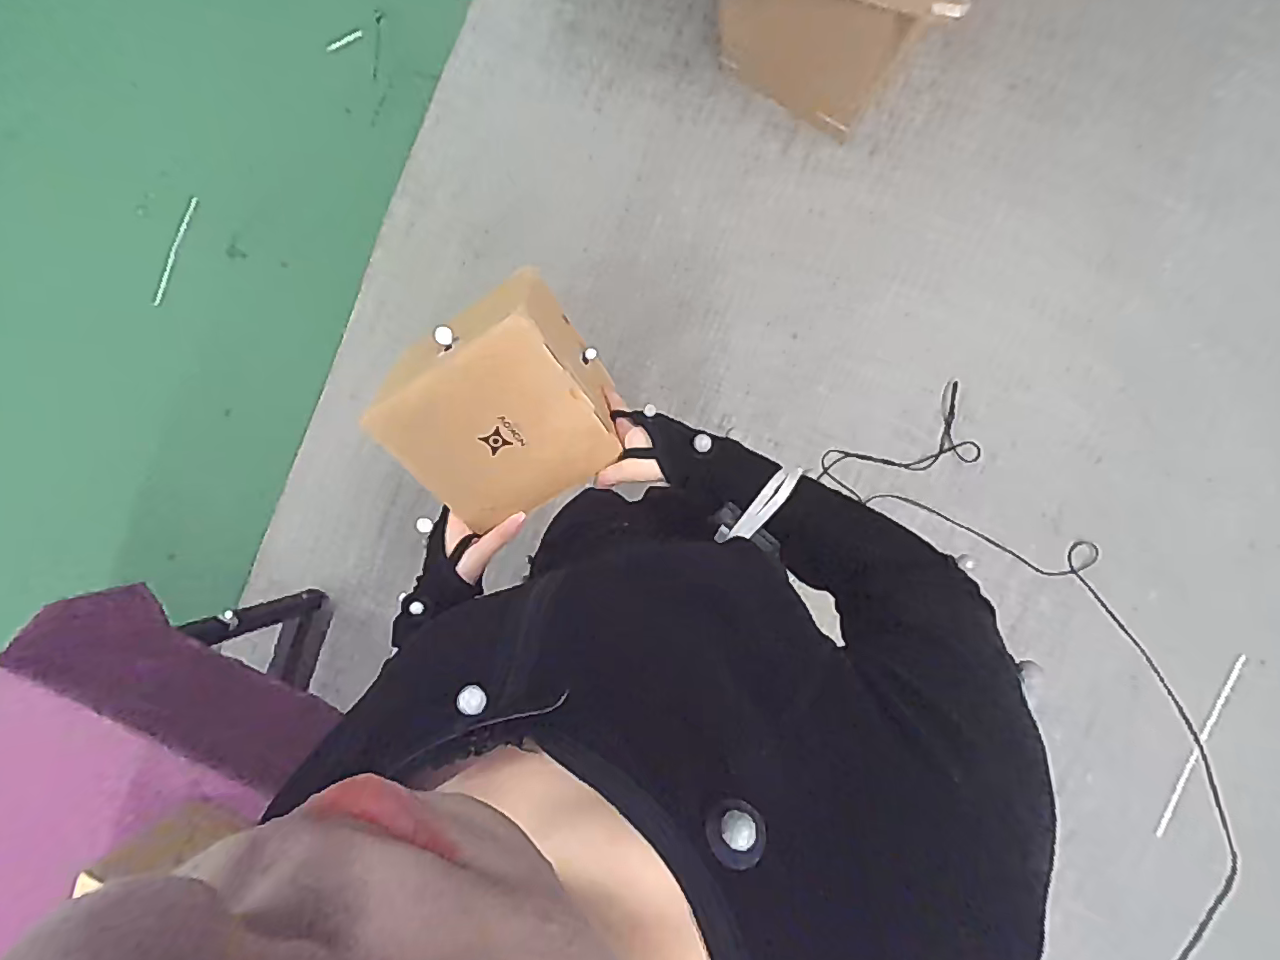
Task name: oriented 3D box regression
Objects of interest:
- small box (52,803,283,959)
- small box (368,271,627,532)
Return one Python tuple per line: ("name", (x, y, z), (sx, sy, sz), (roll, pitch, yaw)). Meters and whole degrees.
("small box", (-0.670, 0.616, 0.784), (0.179, 0.176, 0.168), (22, 93, 7))
("small box", (-0.132, -0.086, 0.556), (0.179, 0.176, 0.168), (-28, 123, 10))
